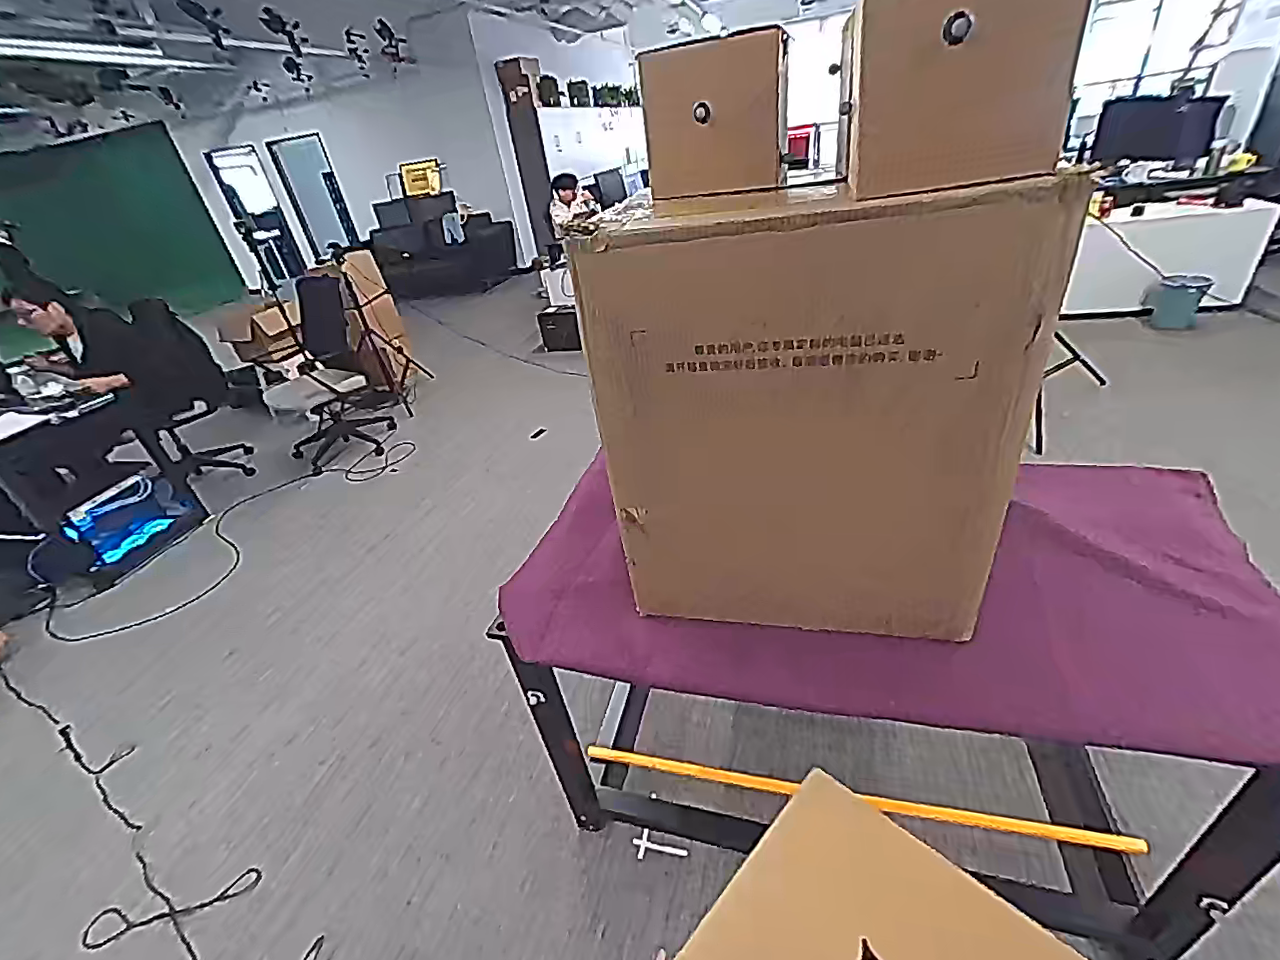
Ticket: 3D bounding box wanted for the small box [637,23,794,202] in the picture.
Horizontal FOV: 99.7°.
[{"bbox_3d":[0.114,-0.495,0.745,0.179,0.176,0.168,3,33,21],"label":"small box"}]
